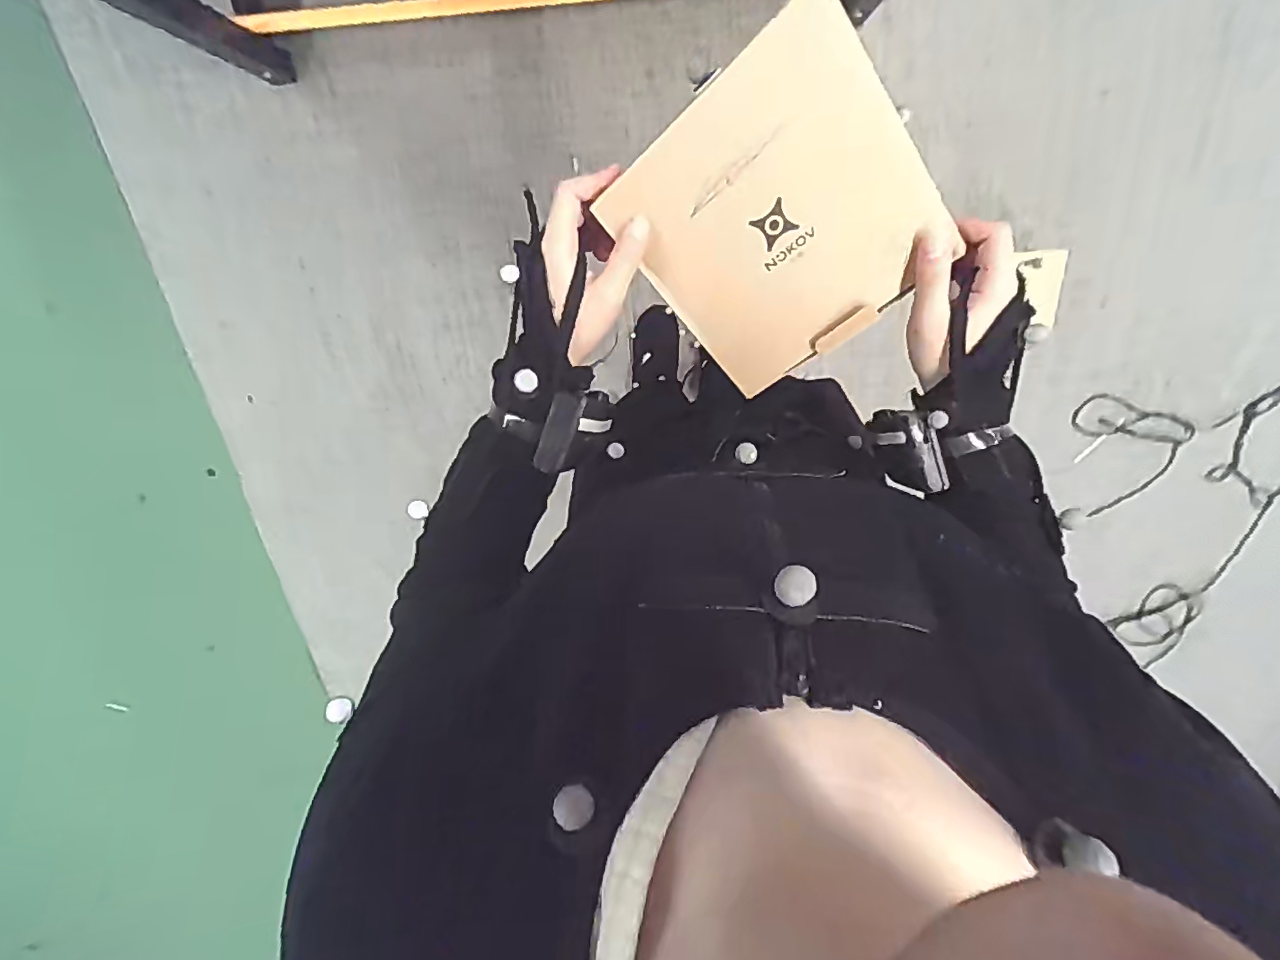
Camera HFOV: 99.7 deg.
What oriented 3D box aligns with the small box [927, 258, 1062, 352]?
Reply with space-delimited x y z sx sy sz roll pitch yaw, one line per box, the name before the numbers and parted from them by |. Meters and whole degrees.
small box | 0.741 -0.377 1.154 0.168 0.176 0.179 -2 112 2
